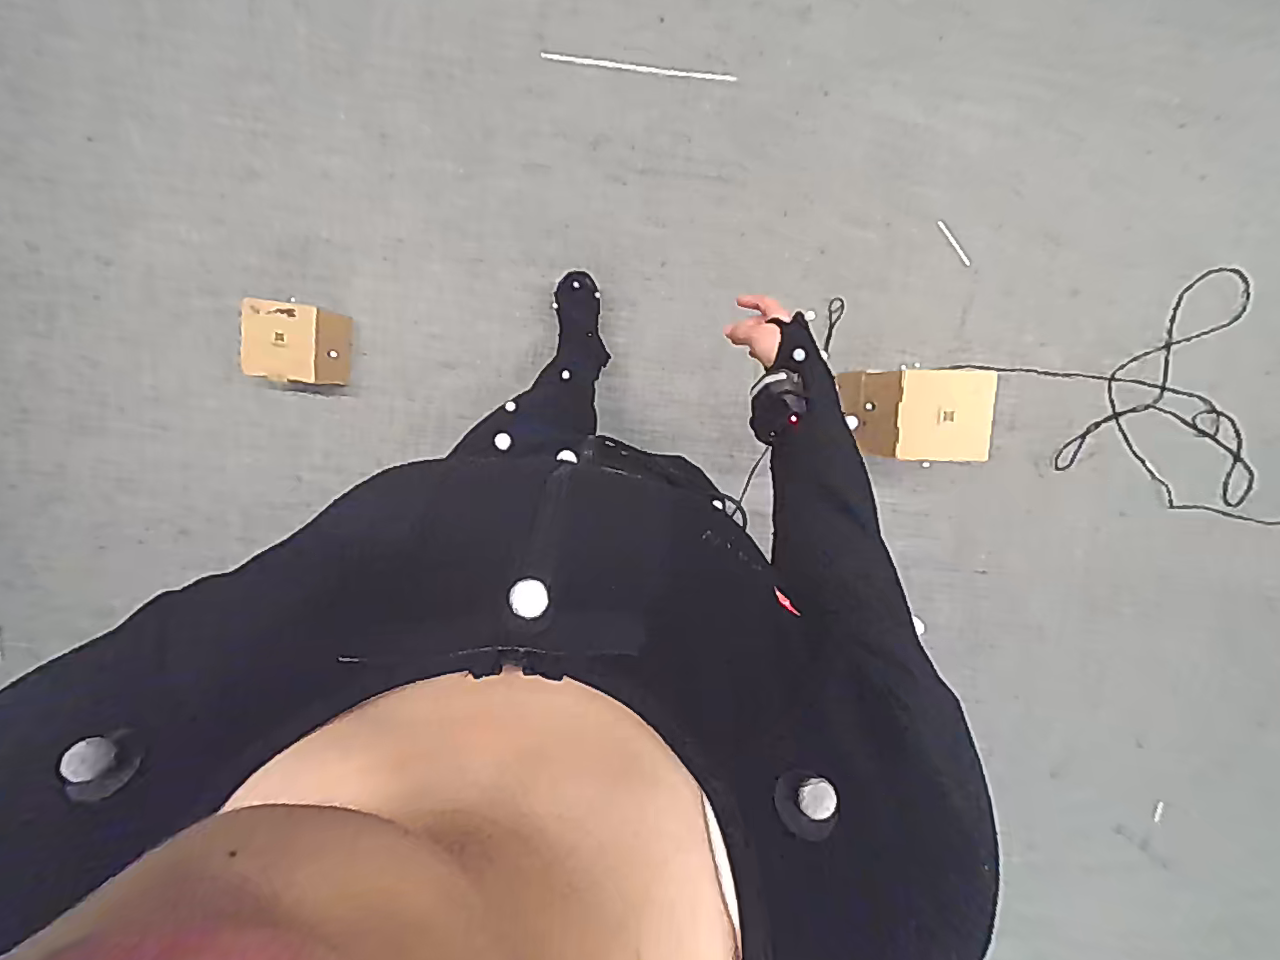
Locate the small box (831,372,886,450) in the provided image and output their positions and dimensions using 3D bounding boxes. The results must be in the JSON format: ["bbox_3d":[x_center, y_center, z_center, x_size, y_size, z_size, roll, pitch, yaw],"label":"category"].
[{"bbox_3d":[0.551,-0.153,1.212,0.179,0.176,0.168,2,98,-1],"label":"small box"}]

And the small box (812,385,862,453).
[{"bbox_3d":[0.550,-0.158,1.377,0.179,0.176,0.168,-2,99,-2],"label":"small box"}]

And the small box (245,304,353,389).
[{"bbox_3d":[-0.823,-0.317,1.317,0.168,0.176,0.179,6,98,-2],"label":"small box"}]

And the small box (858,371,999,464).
[{"bbox_3d":[0.551,-0.124,1.052,0.179,0.176,0.168,1,98,-1],"label":"small box"}]
